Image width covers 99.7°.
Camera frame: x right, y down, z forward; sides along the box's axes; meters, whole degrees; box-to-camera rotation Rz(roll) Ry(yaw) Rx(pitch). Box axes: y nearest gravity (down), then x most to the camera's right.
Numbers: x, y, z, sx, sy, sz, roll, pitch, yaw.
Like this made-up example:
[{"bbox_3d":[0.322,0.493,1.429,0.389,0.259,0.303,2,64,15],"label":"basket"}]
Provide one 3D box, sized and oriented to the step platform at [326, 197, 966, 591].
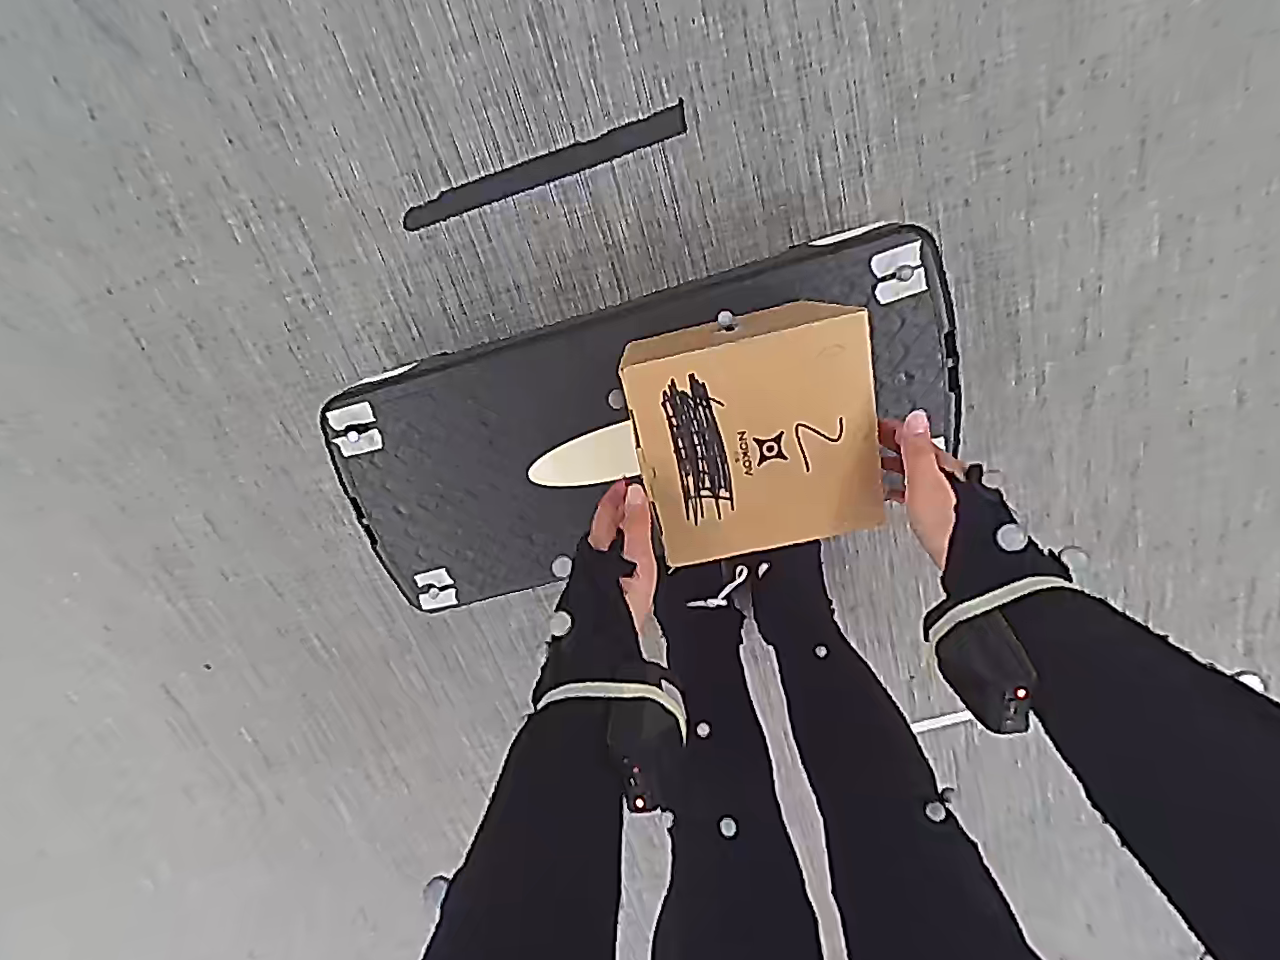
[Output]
[{"bbox_3d":[0.005,-0.091,0.650,0.684,0.204,0.286,-15,109,7],"label":"step platform"}]
